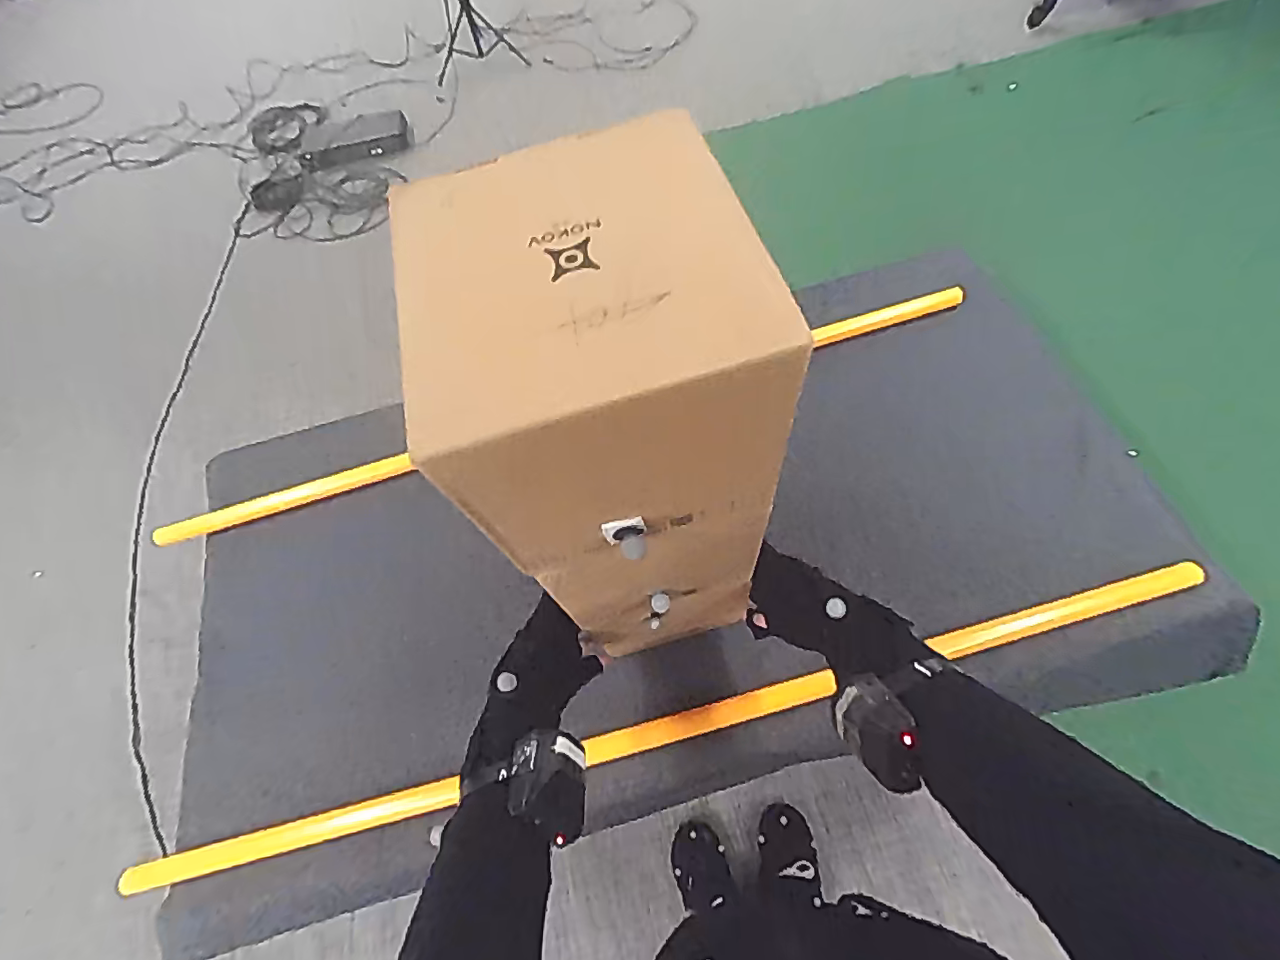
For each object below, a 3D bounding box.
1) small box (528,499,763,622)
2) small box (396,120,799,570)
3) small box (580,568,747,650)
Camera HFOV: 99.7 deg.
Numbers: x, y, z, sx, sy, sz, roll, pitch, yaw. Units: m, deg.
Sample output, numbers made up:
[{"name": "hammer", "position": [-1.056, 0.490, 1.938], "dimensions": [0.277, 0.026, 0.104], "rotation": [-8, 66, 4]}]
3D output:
[{"name": "small box", "position": [-0.008, 0.004, 0.473], "dimensions": [0.168, 0.176, 0.179], "rotation": [-16, 63, -2]}, {"name": "small box", "position": [-0.025, -0.067, 0.329], "dimensions": [0.168, 0.176, 0.179], "rotation": [-17, 63, 0]}, {"name": "small box", "position": [0.012, 0.078, 0.620], "dimensions": [0.168, 0.176, 0.179], "rotation": [-16, 63, 0]}]
